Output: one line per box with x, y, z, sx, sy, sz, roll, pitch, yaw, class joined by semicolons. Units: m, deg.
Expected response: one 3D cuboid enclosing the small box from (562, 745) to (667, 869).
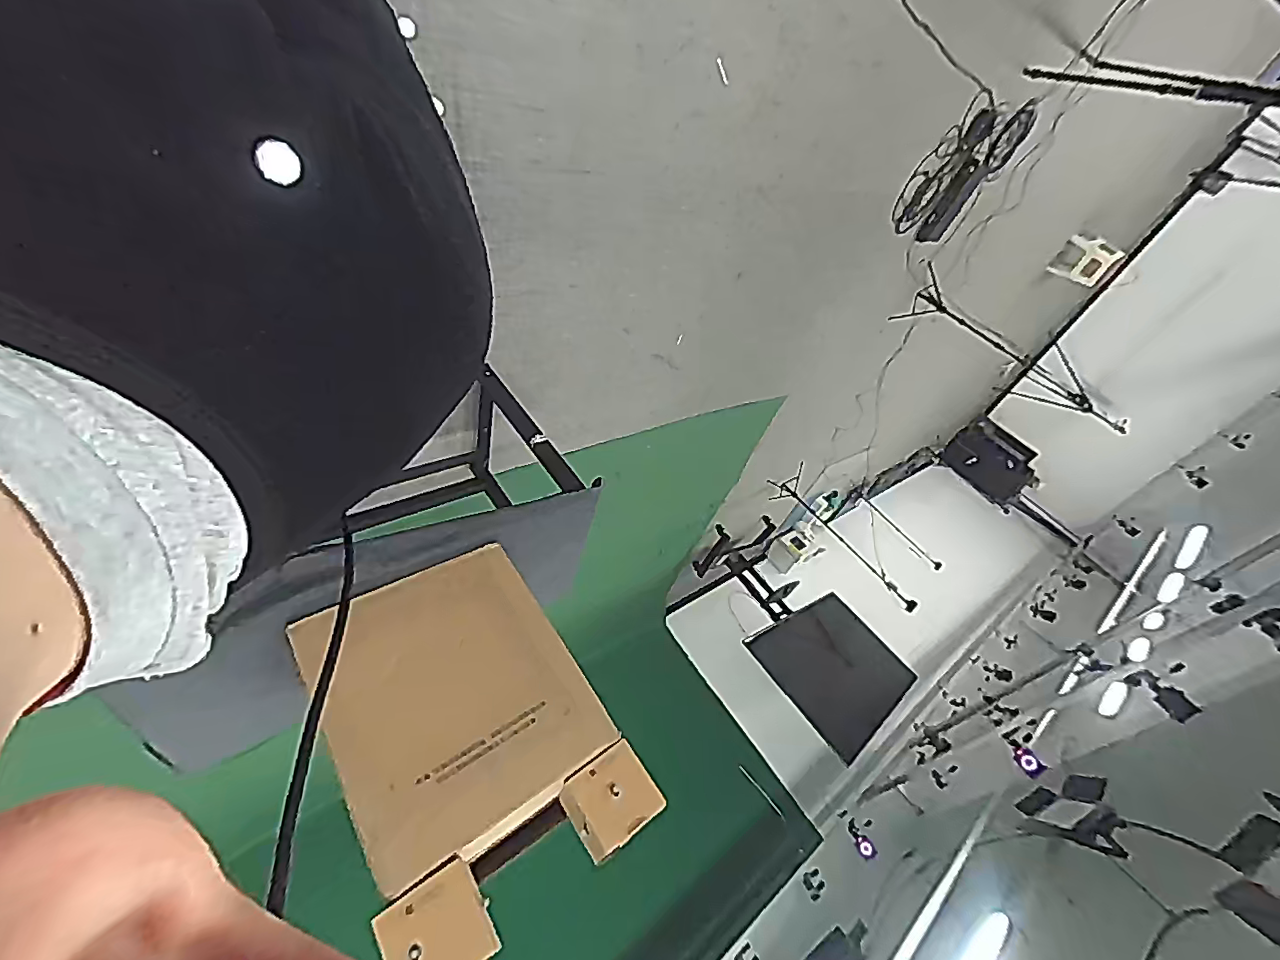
-0.065;0.745;1.245;0.168;0.176;0.179;-25;149;-31;small box

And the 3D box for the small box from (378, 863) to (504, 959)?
-0.372;0.861;1.020;0.168;0.176;0.179;-24;150;-26;small box
